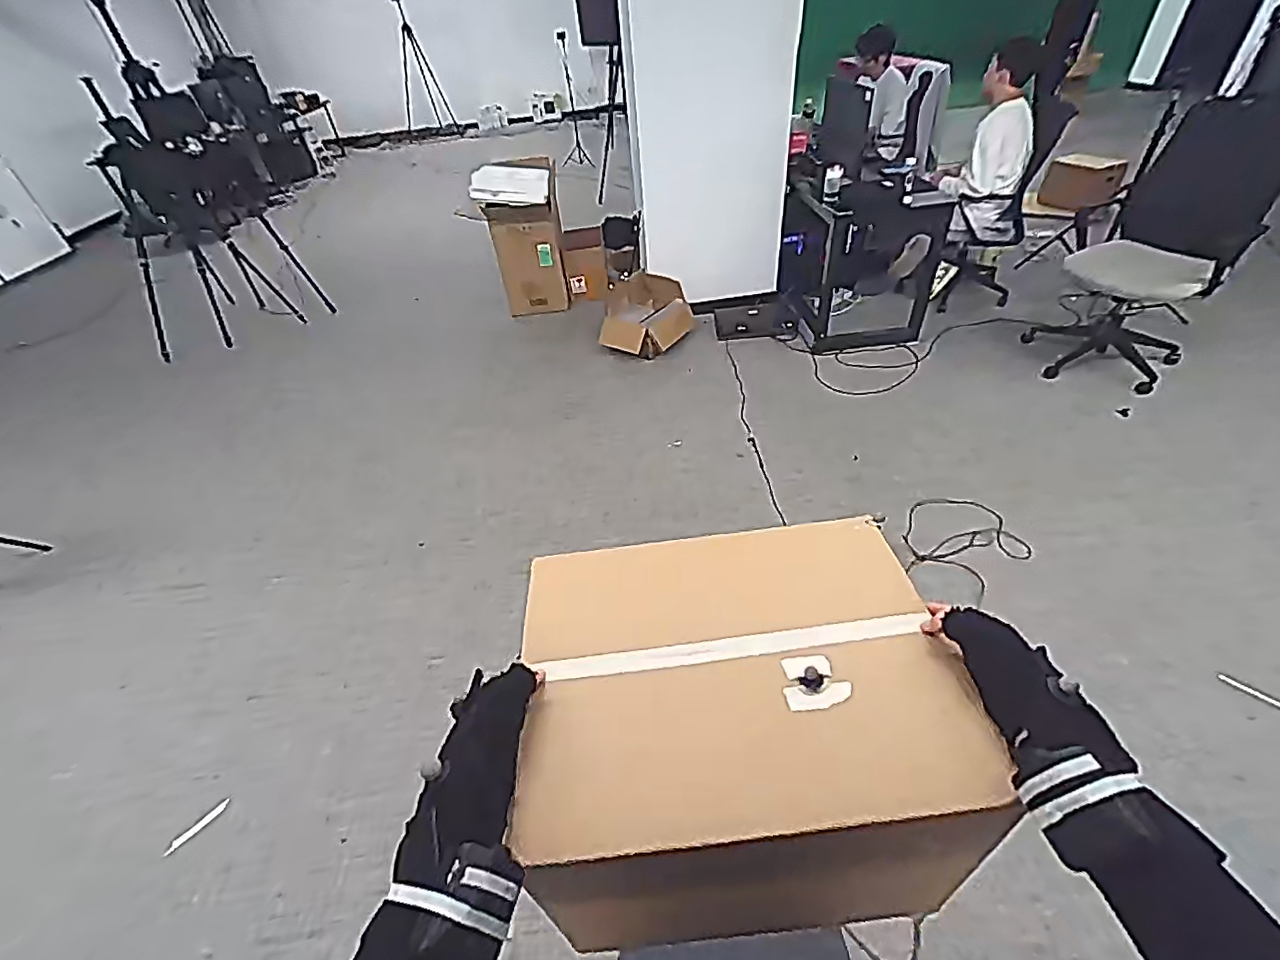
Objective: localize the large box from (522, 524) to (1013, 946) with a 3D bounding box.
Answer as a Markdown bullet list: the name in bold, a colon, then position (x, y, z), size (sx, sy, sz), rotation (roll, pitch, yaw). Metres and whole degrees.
- **large box**: position (0.103, 0.288, 0.632), size (0.408, 0.320, 0.320), rotation (-7, 39, 0)
